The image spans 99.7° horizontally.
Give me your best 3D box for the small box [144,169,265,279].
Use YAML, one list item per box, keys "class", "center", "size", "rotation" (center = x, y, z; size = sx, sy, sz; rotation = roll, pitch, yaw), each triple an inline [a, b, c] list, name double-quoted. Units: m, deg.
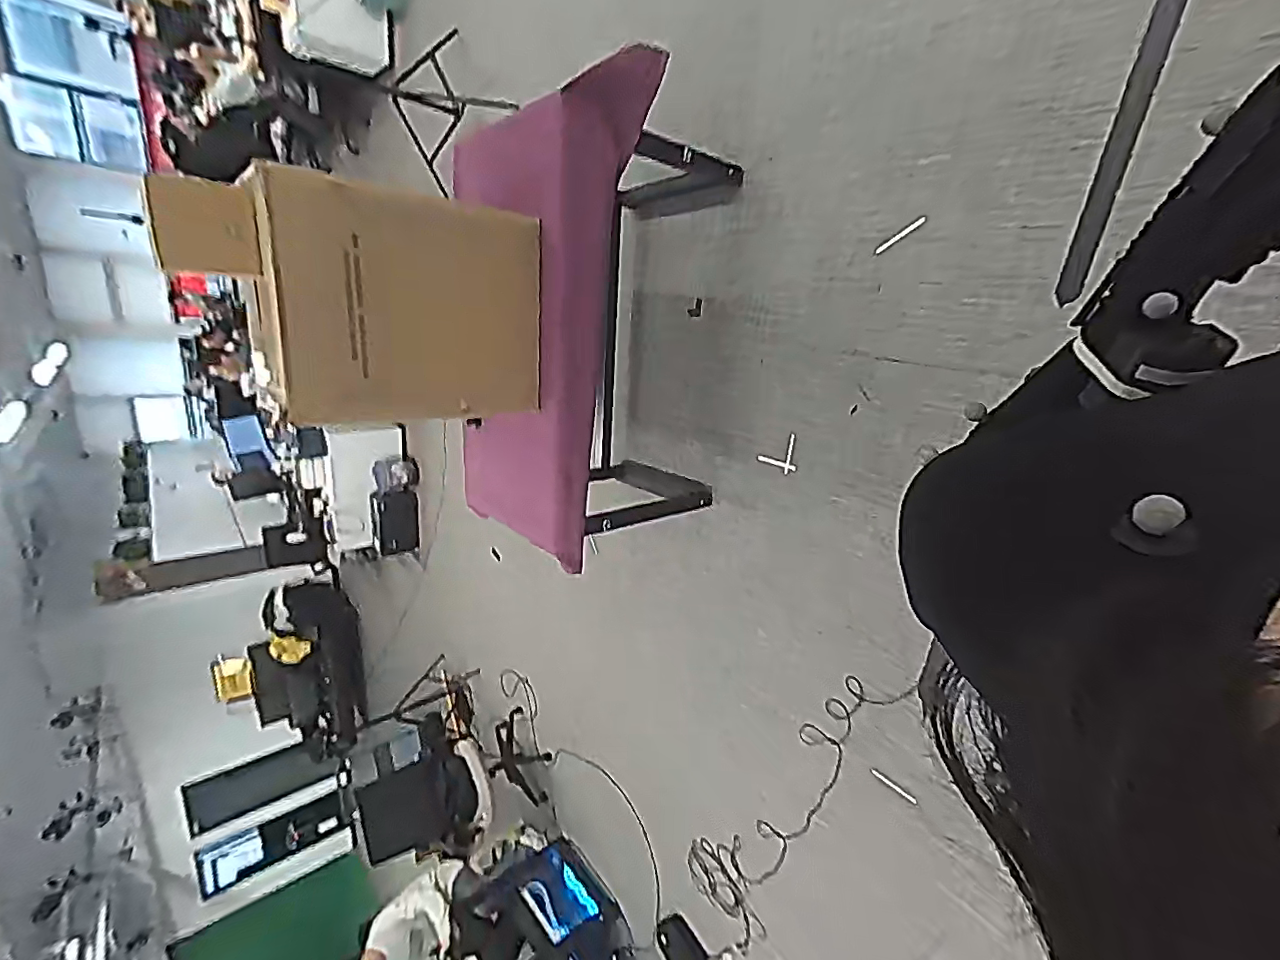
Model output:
- class: "small box"
  center: [-0.904, -0.522, 1.125]
  size: [0.168, 0.176, 0.179]
  rotation: [20, 113, 45]
